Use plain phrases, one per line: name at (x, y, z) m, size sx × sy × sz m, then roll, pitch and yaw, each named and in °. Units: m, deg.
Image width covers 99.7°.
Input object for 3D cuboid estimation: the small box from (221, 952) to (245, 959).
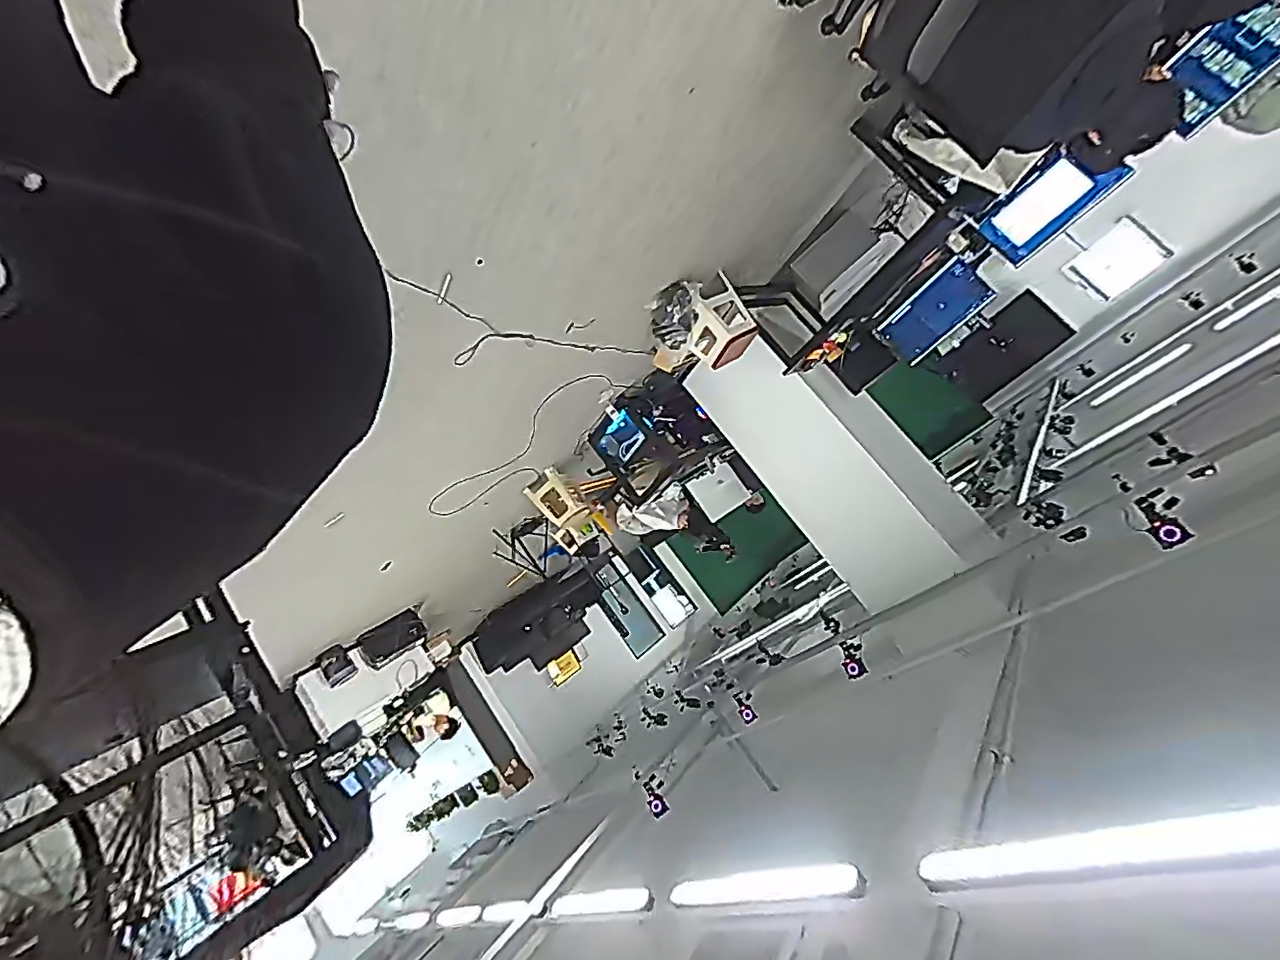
small box at (-1.021, 1.280, 1.293) m, size 0.168 × 0.176 × 0.179 m, roll -24°, pitch 164°, yaw -50°
